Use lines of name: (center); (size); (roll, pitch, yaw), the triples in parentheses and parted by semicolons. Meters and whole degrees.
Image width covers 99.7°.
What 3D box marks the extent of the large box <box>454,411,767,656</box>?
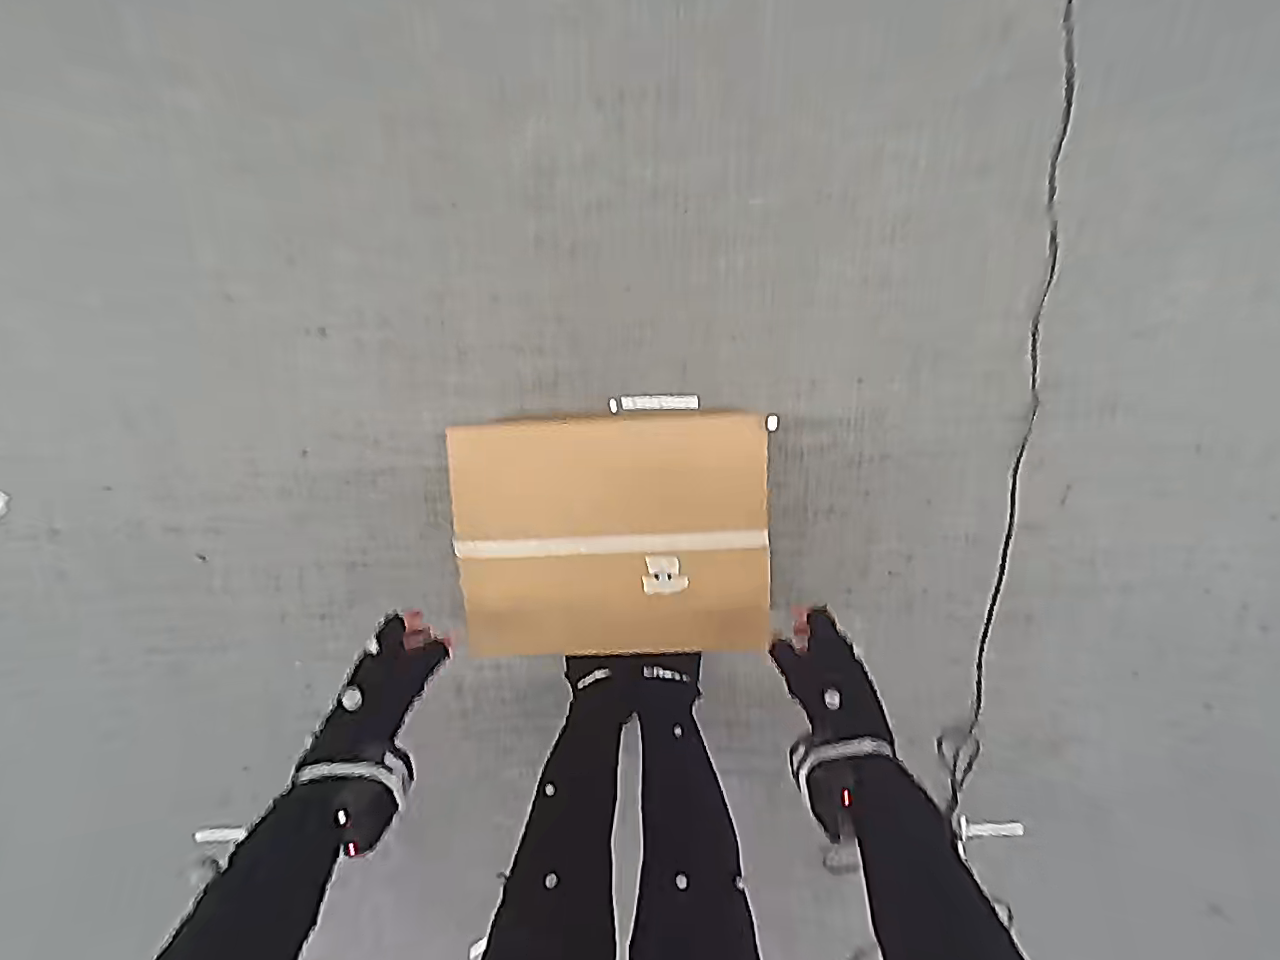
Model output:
large box: (-0.034, 0.057, 0.861); (0.408, 0.320, 0.320); (-3, 100, 1)
